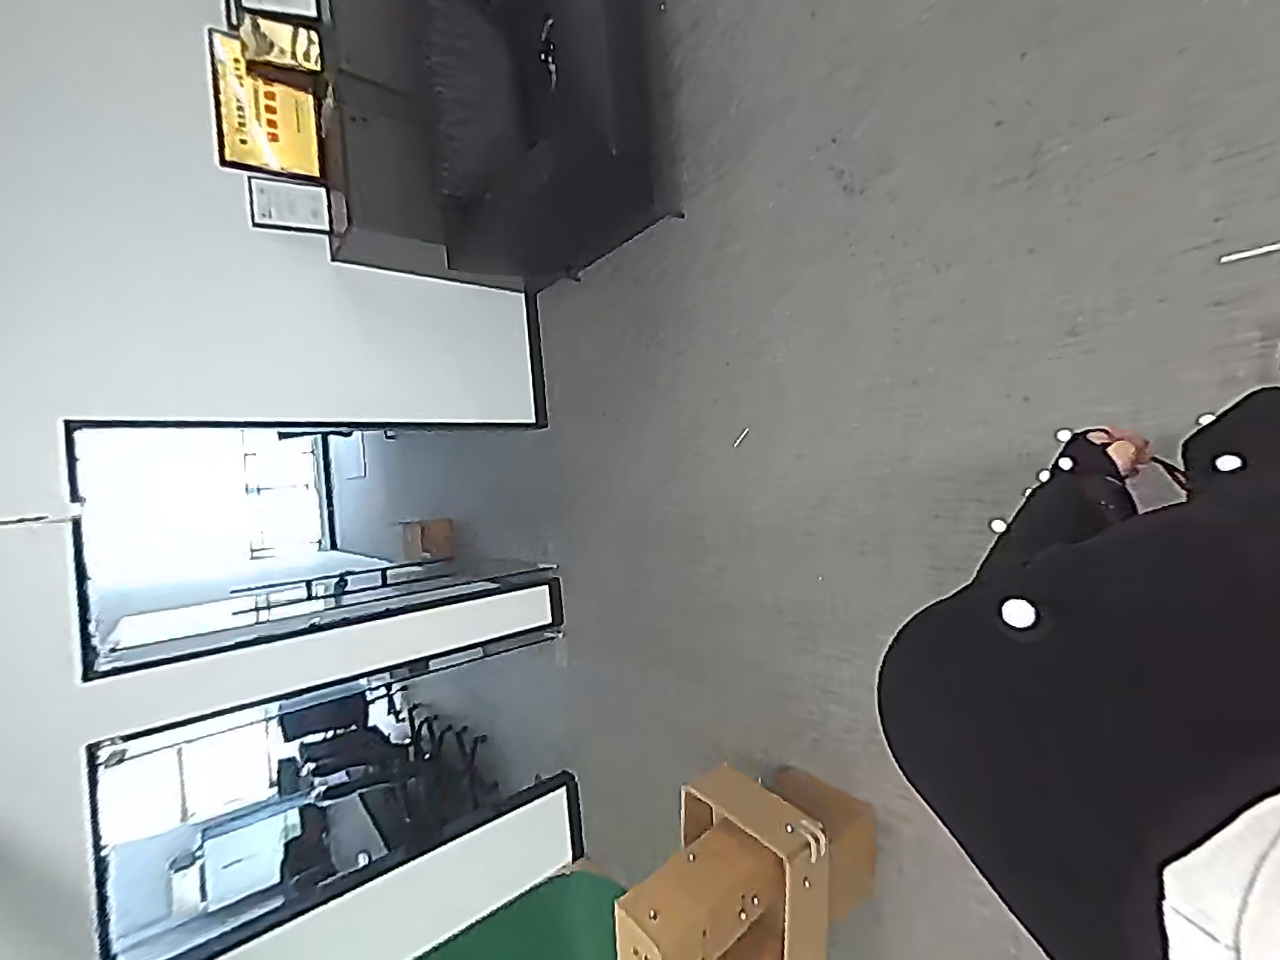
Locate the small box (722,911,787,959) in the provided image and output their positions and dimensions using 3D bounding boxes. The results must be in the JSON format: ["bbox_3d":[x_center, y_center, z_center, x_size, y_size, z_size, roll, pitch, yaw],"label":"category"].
[{"bbox_3d":[0.308,1.419,1.593,0.179,0.176,0.168,6,99,50],"label":"small box"}]

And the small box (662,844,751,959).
[{"bbox_3d":[0.180,1.134,1.465,0.179,0.176,0.168,3,97,49],"label":"small box"}]

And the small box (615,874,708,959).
[{"bbox_3d":[0.058,1.146,1.356,0.179,0.176,0.168,3,97,50],"label":"small box"}]
